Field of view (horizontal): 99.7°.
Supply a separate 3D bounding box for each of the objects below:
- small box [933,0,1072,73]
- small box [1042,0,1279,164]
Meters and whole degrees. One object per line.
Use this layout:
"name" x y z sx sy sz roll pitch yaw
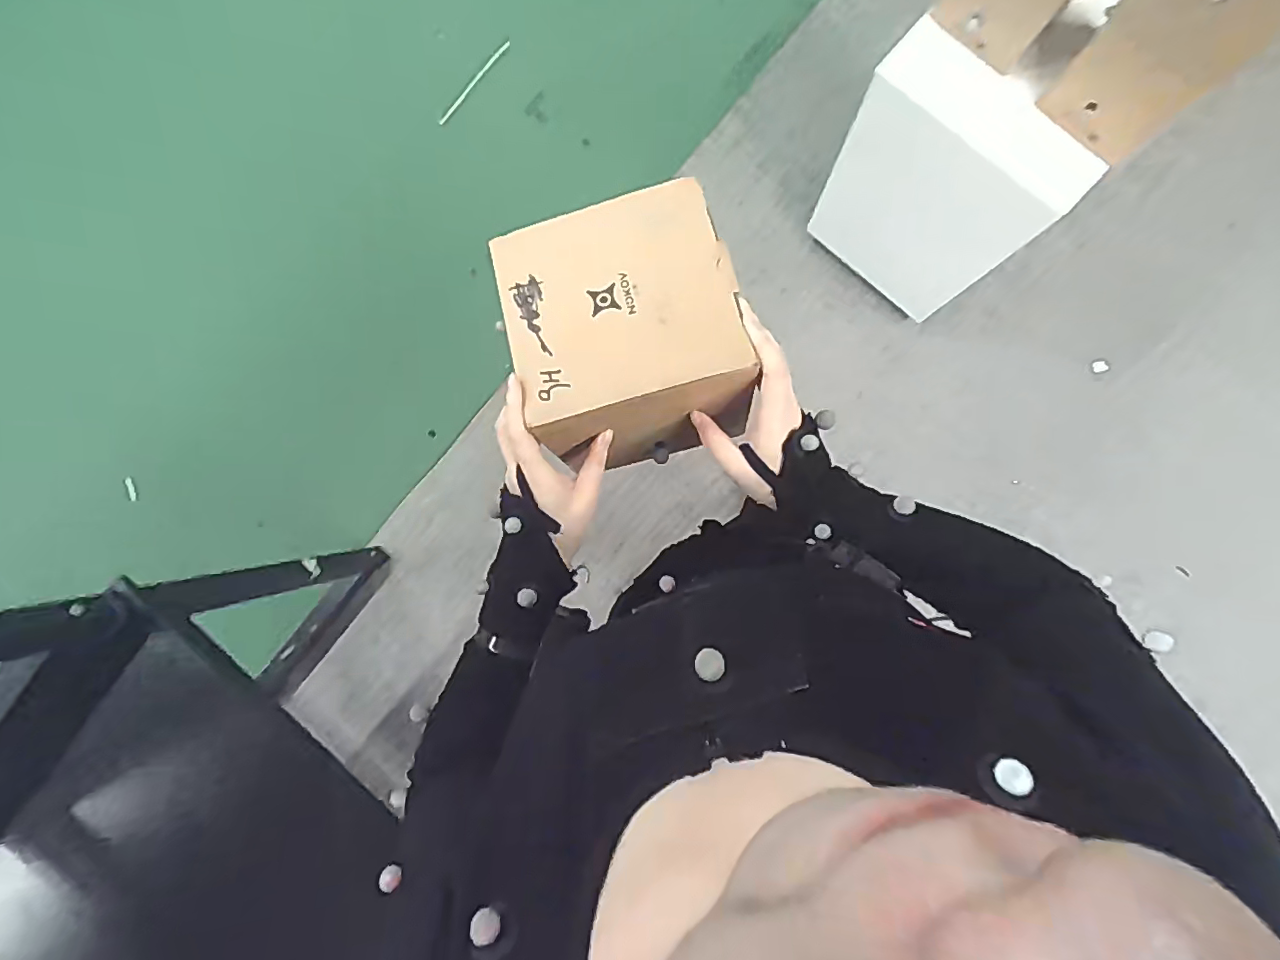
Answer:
"small box" 0.587 -0.781 0.810 0.168 0.176 0.179 42 93 4
"small box" 0.753 -0.620 0.791 0.168 0.176 0.179 44 93 6
